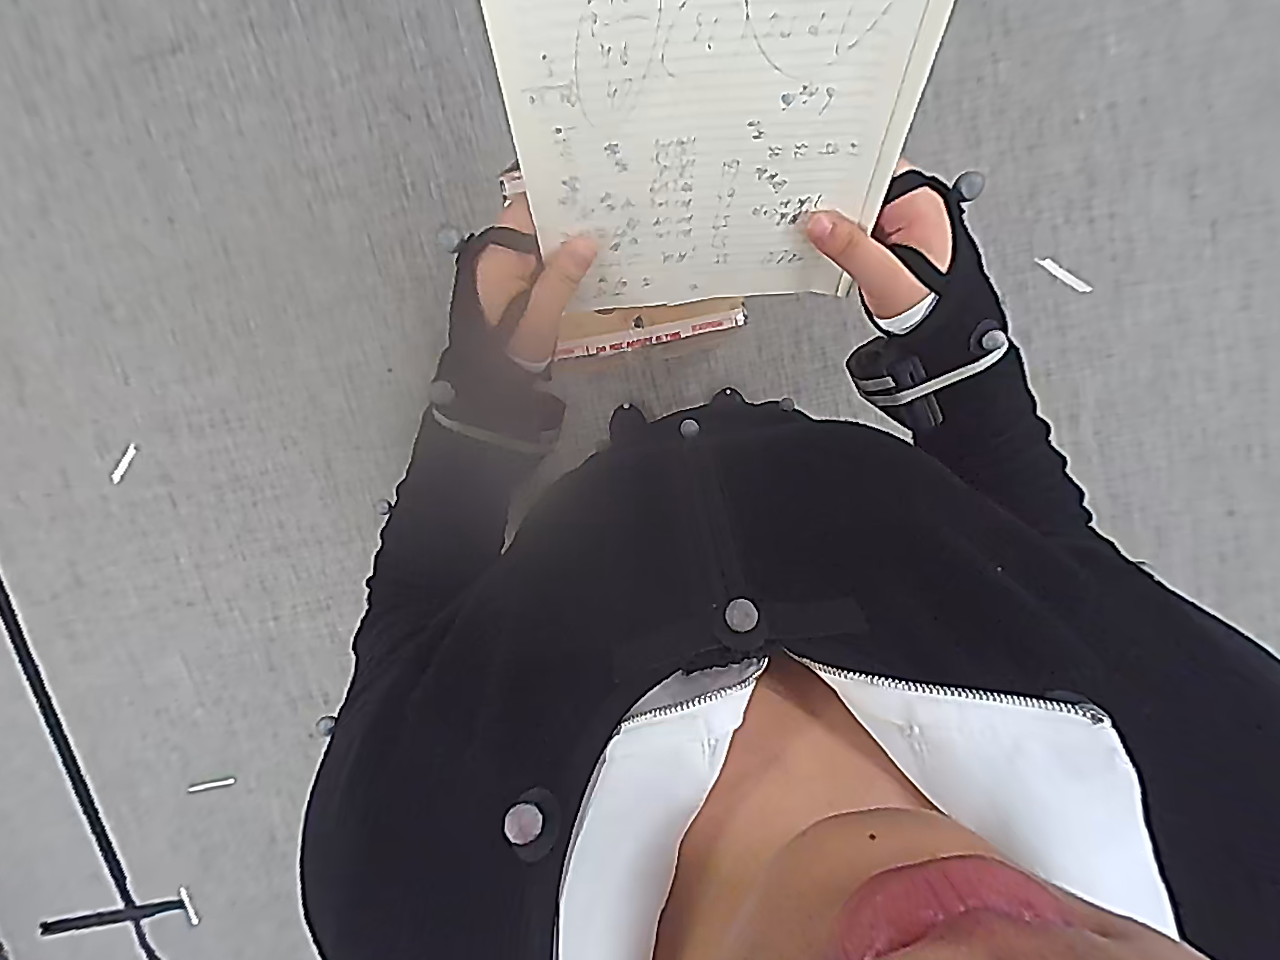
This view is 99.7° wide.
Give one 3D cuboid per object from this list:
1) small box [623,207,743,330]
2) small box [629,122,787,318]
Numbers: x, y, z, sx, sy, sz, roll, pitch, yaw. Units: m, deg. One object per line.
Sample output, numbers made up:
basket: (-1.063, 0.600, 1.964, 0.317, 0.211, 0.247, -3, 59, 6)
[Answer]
small box: (0.076, -0.353, 0.880, 0.179, 0.176, 0.168, -15, 99, 3)
small box: (0.080, -0.328, 0.717, 0.168, 0.176, 0.179, -12, 100, 1)
